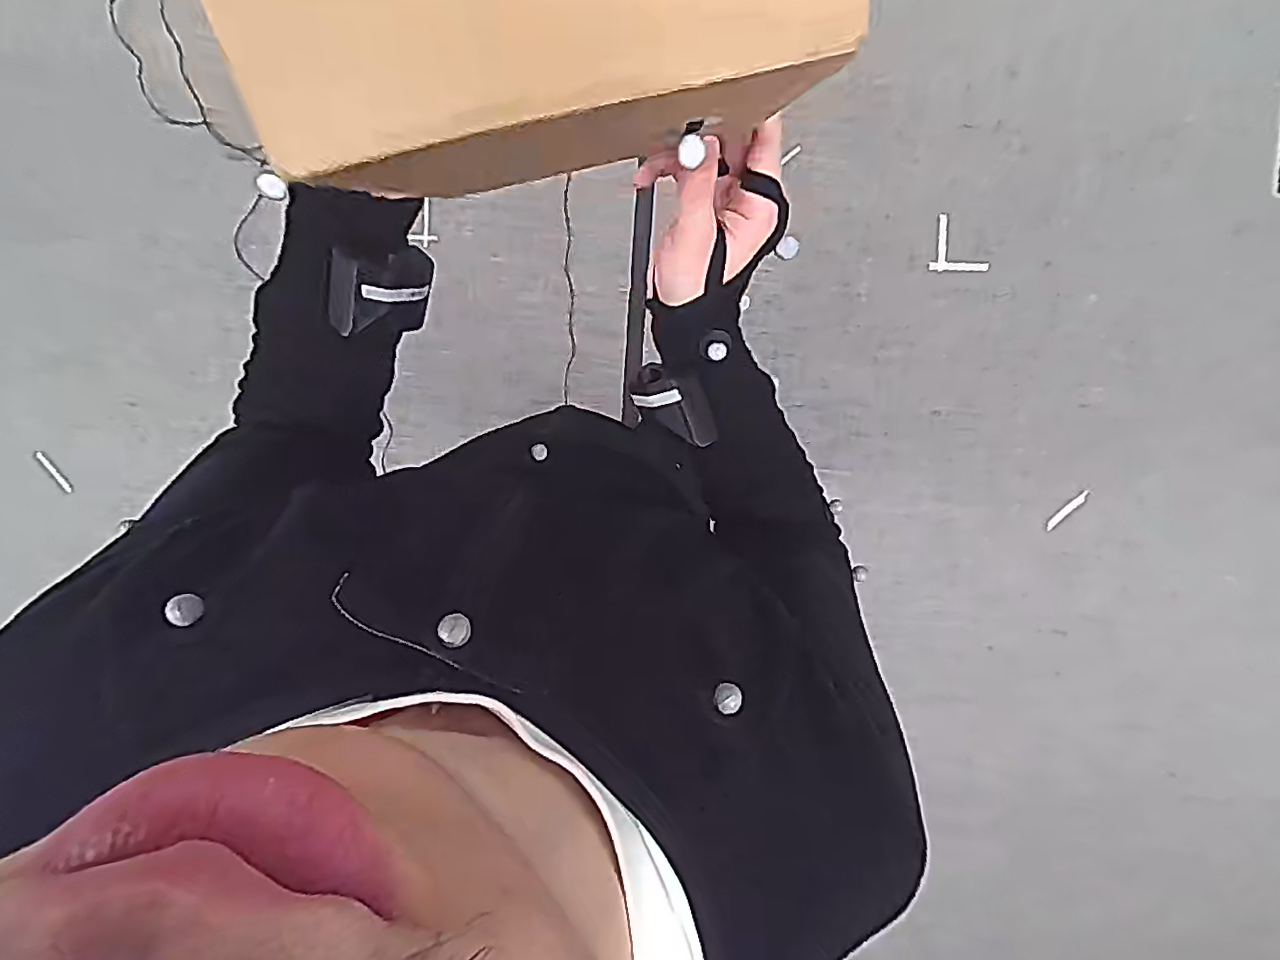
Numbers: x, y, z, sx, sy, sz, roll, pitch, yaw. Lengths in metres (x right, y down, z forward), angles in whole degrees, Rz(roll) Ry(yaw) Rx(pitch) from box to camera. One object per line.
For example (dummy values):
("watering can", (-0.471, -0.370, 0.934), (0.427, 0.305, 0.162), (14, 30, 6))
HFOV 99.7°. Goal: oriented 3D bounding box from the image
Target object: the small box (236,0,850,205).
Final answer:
("small box", (-0.040, -0.216, 0.207), (0.179, 0.176, 0.168), (-12, 114, 5))
